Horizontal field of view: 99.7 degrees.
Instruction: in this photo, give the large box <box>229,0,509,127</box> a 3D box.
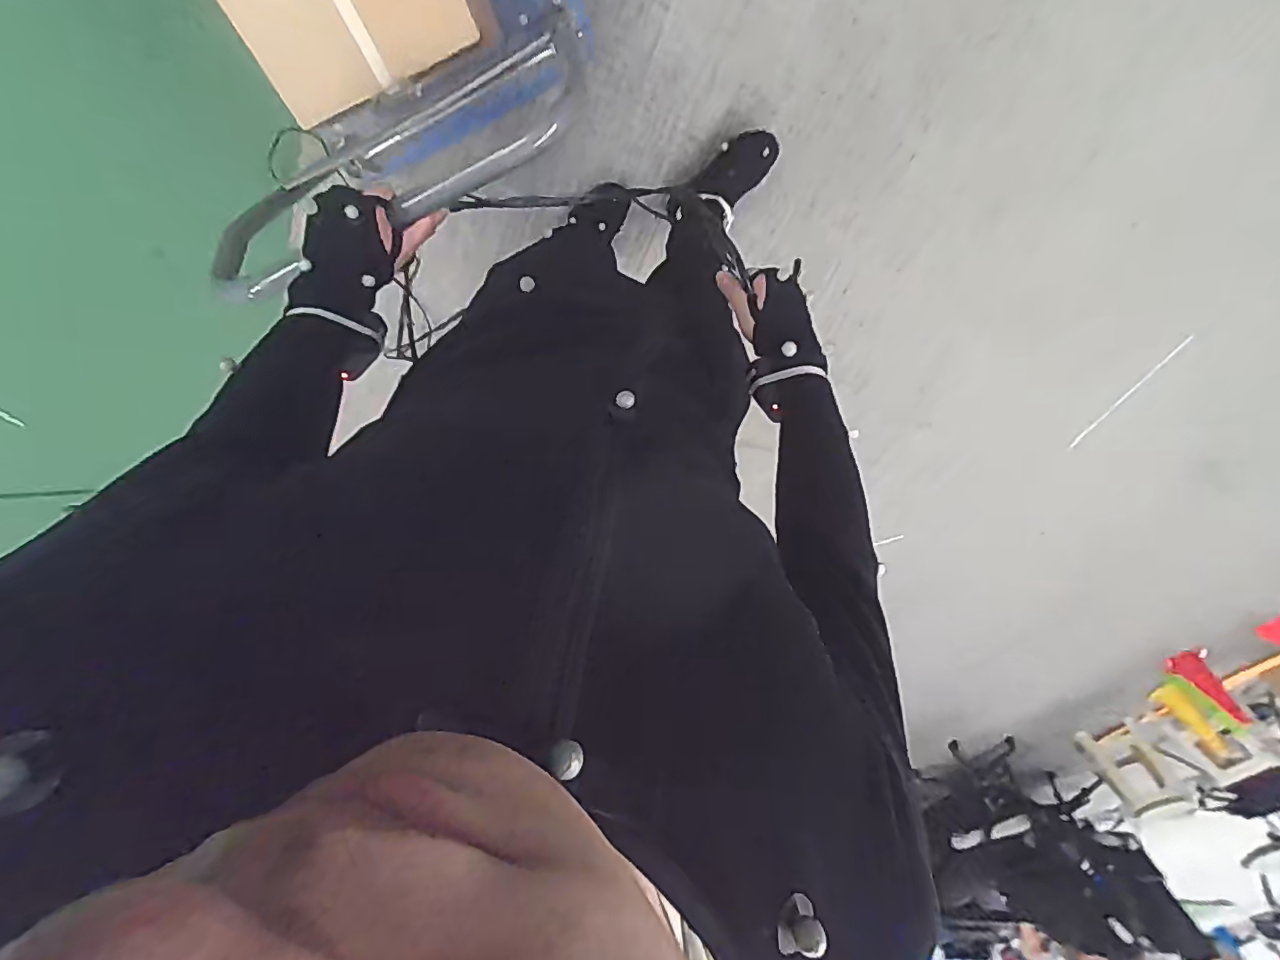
[{"bbox_3d":[-0.446,-0.826,0.811,0.320,0.320,0.408,-19,127,9],"label":"large box"}]
